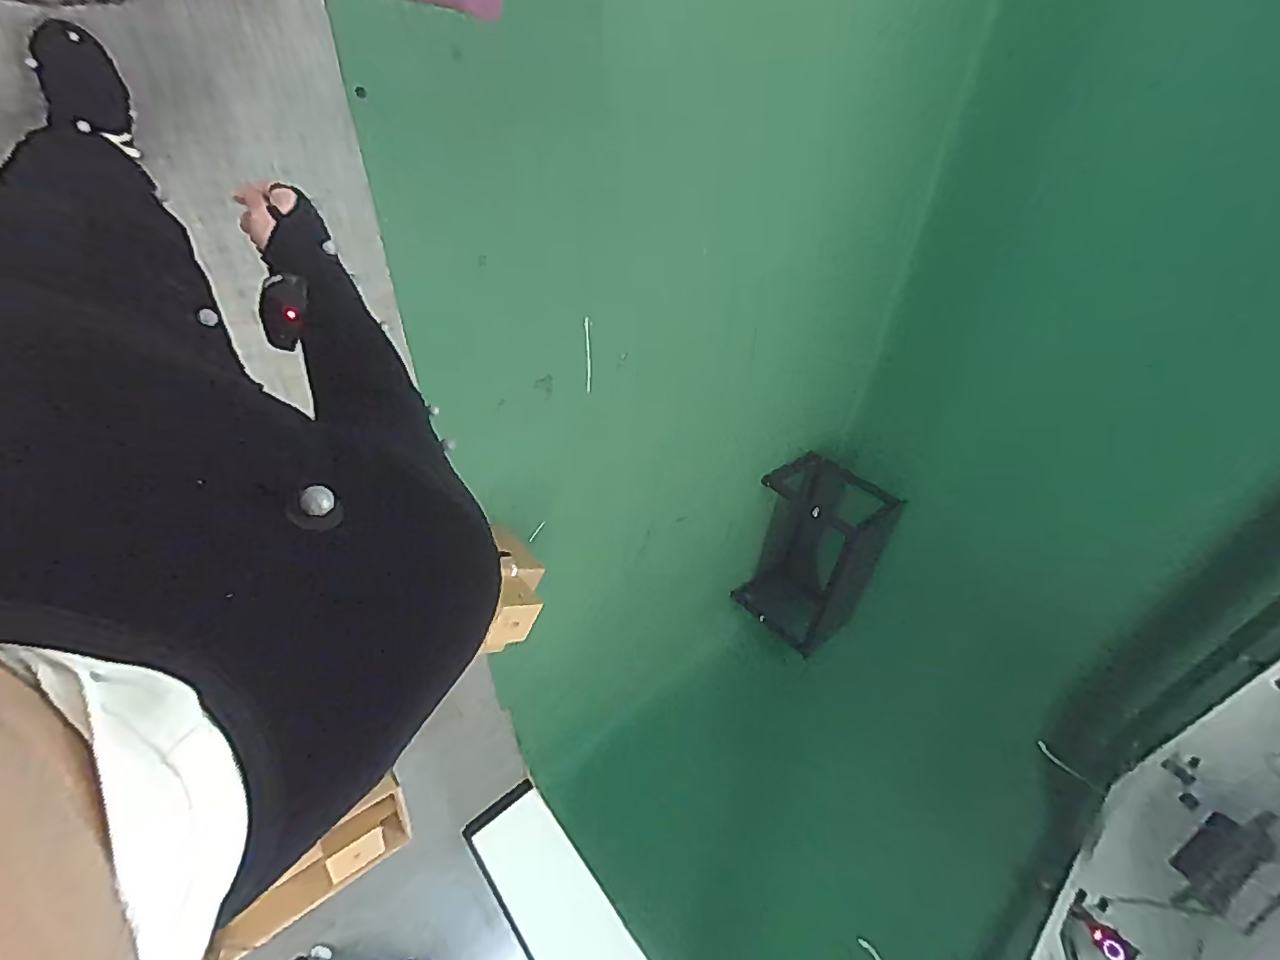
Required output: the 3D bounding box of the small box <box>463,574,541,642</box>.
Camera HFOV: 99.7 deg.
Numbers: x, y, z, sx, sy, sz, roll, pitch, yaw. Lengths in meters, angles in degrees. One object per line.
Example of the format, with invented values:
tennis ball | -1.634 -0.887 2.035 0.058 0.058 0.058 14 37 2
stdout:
small box | -0.490 0.447 1.913 0.179 0.176 0.168 12 110 -51
